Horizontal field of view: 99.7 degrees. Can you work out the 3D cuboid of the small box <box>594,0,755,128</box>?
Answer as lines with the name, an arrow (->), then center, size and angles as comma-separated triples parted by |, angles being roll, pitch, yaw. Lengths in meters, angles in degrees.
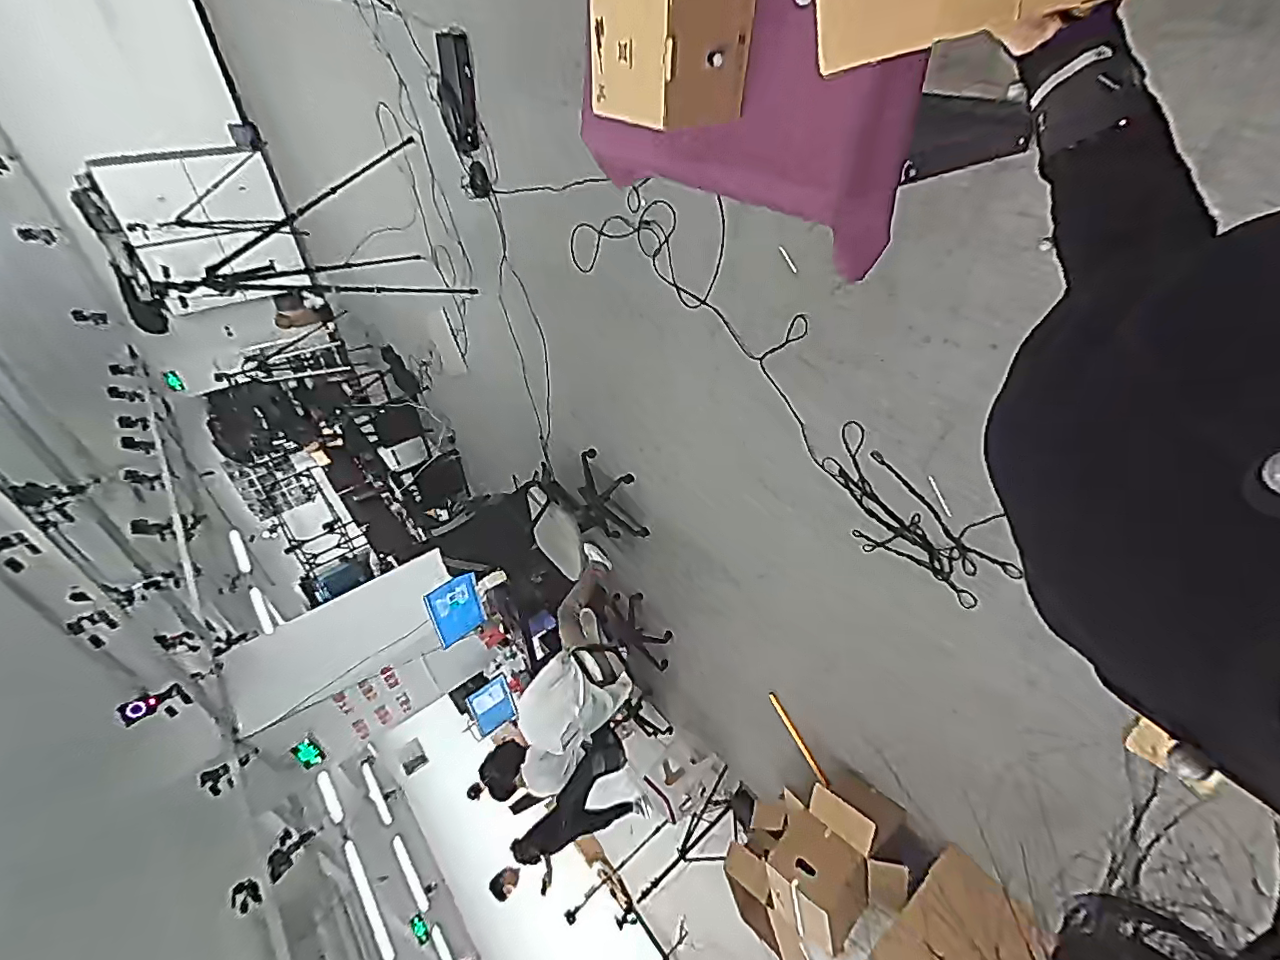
small box -> 0.049, -0.651, 0.816 | 0.179, 0.176, 0.168 | 39, 144, 33

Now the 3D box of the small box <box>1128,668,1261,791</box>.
small box -> 1.347, 0.598, 1.313 | 0.168, 0.176, 0.179 | 32, 139, 41
